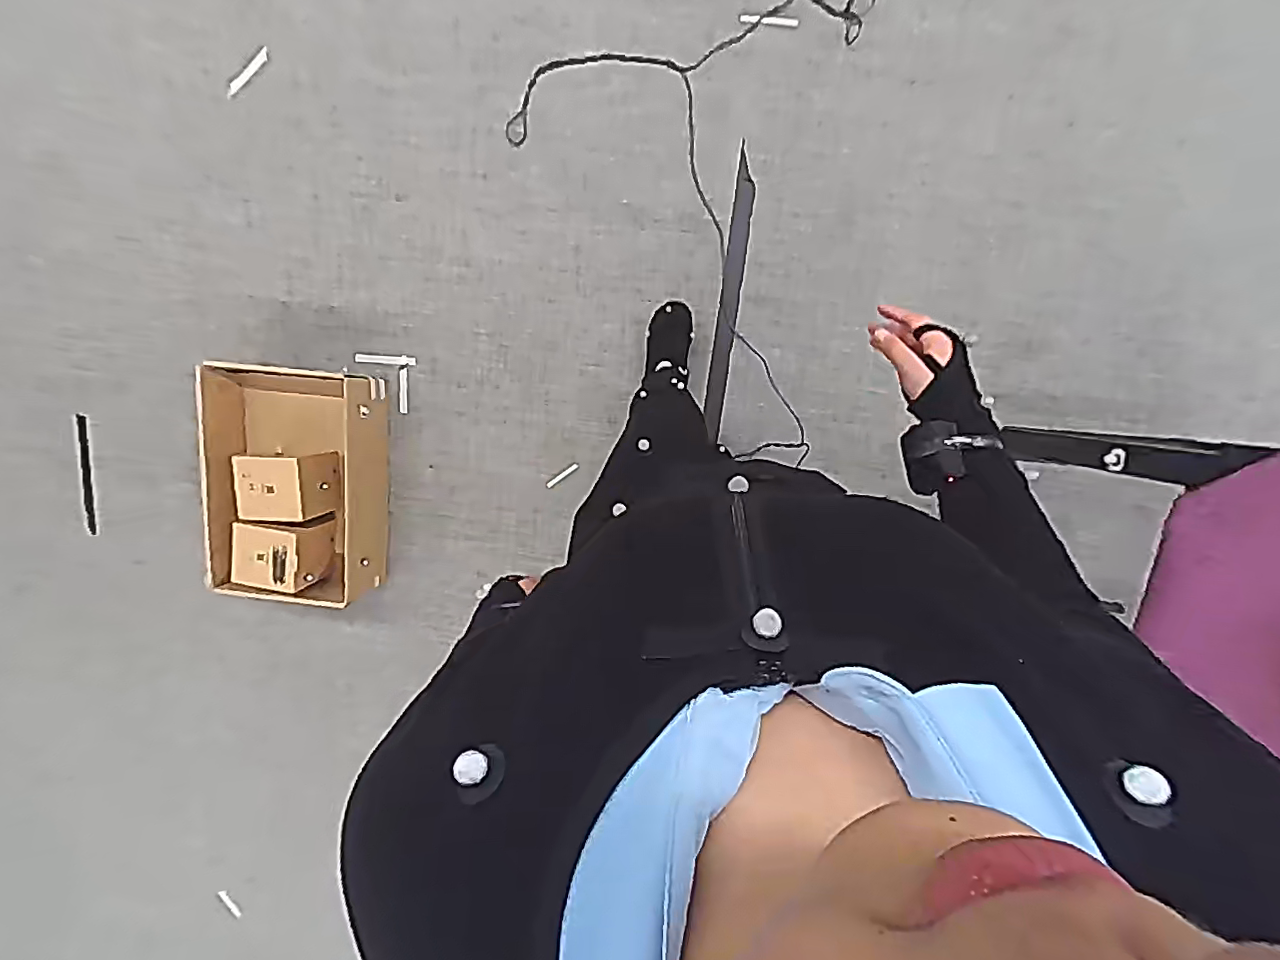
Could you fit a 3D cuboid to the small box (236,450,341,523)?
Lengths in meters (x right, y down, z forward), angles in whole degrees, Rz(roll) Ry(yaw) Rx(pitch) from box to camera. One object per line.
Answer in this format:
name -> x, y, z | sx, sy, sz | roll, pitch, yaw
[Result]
small box -> -0.928, 0.012, 1.447 | 0.179, 0.176, 0.168 | 2, 99, 4
